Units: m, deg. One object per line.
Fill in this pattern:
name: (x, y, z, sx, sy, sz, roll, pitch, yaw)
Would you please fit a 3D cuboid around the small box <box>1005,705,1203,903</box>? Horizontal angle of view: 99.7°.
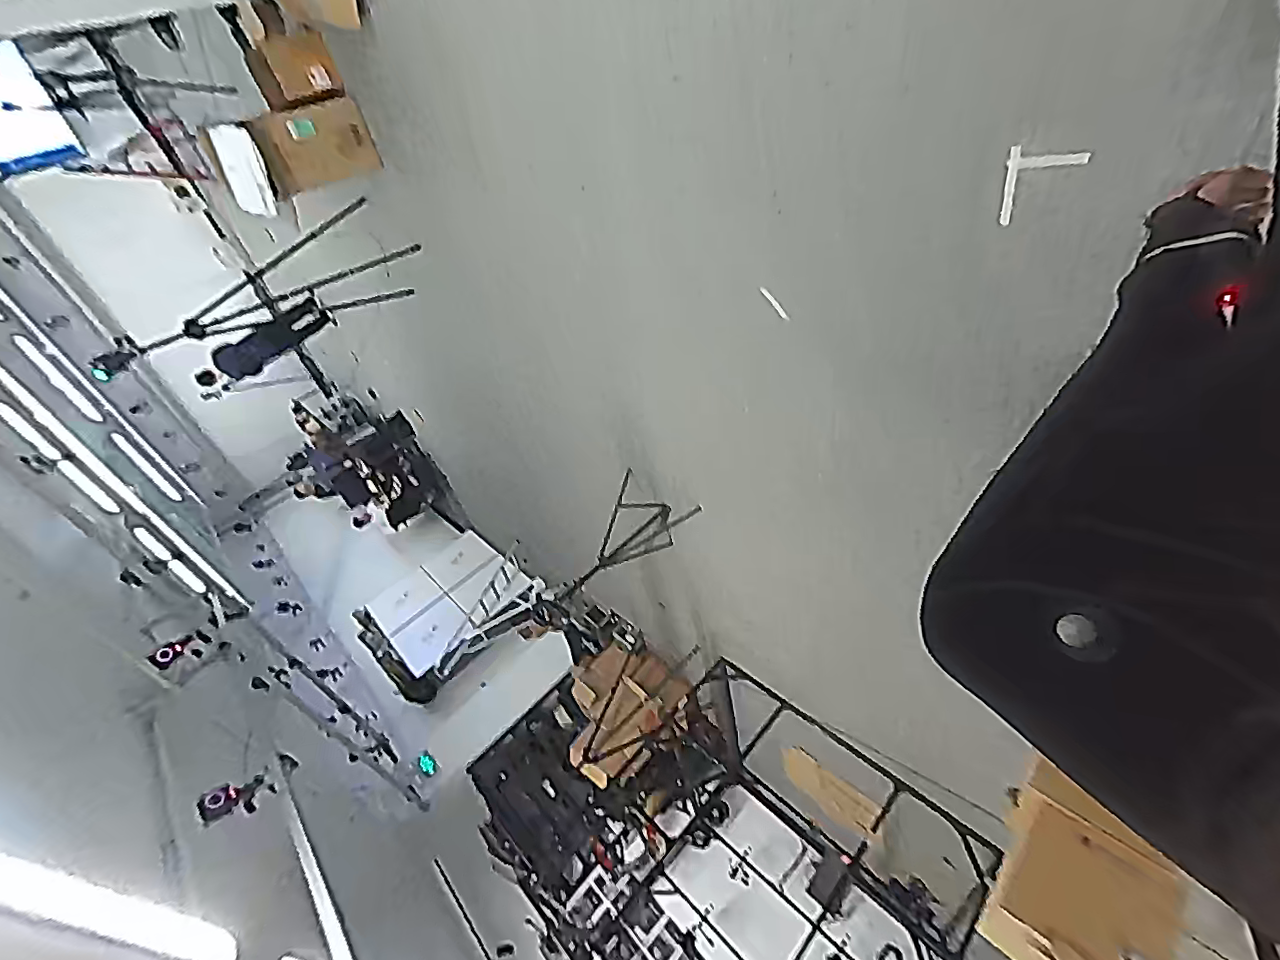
small box: (0.711, 0.492, 0.836, 0.179, 0.176, 0.168, 27, 145, 39)
